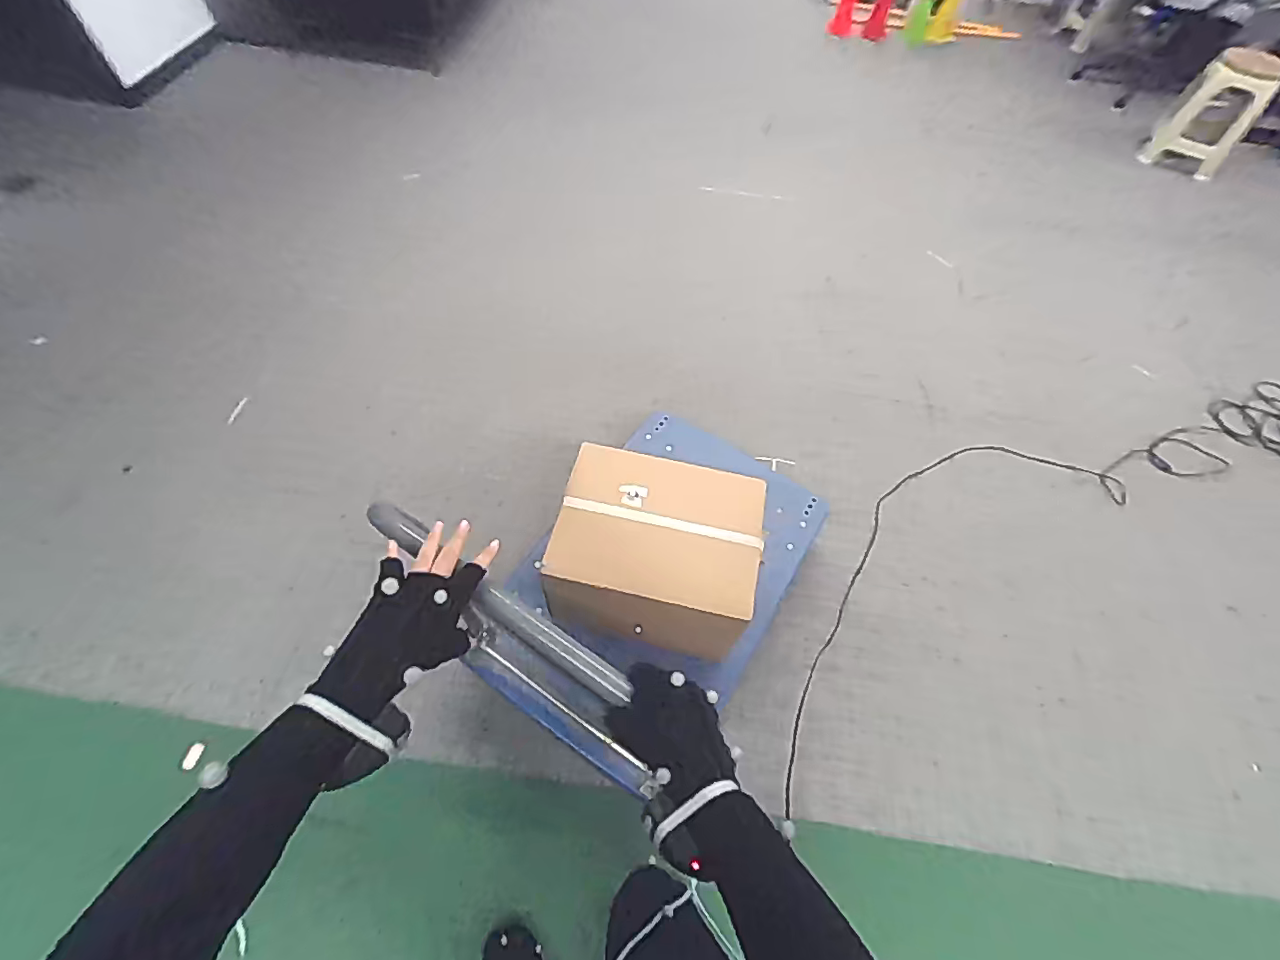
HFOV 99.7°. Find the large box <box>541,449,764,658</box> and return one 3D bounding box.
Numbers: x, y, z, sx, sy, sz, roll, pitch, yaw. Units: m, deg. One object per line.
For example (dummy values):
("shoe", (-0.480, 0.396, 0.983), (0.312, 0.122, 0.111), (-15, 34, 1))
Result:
("large box", (0.035, 0.173, 1.201), (0.408, 0.320, 0.320), (12, 58, 5))
